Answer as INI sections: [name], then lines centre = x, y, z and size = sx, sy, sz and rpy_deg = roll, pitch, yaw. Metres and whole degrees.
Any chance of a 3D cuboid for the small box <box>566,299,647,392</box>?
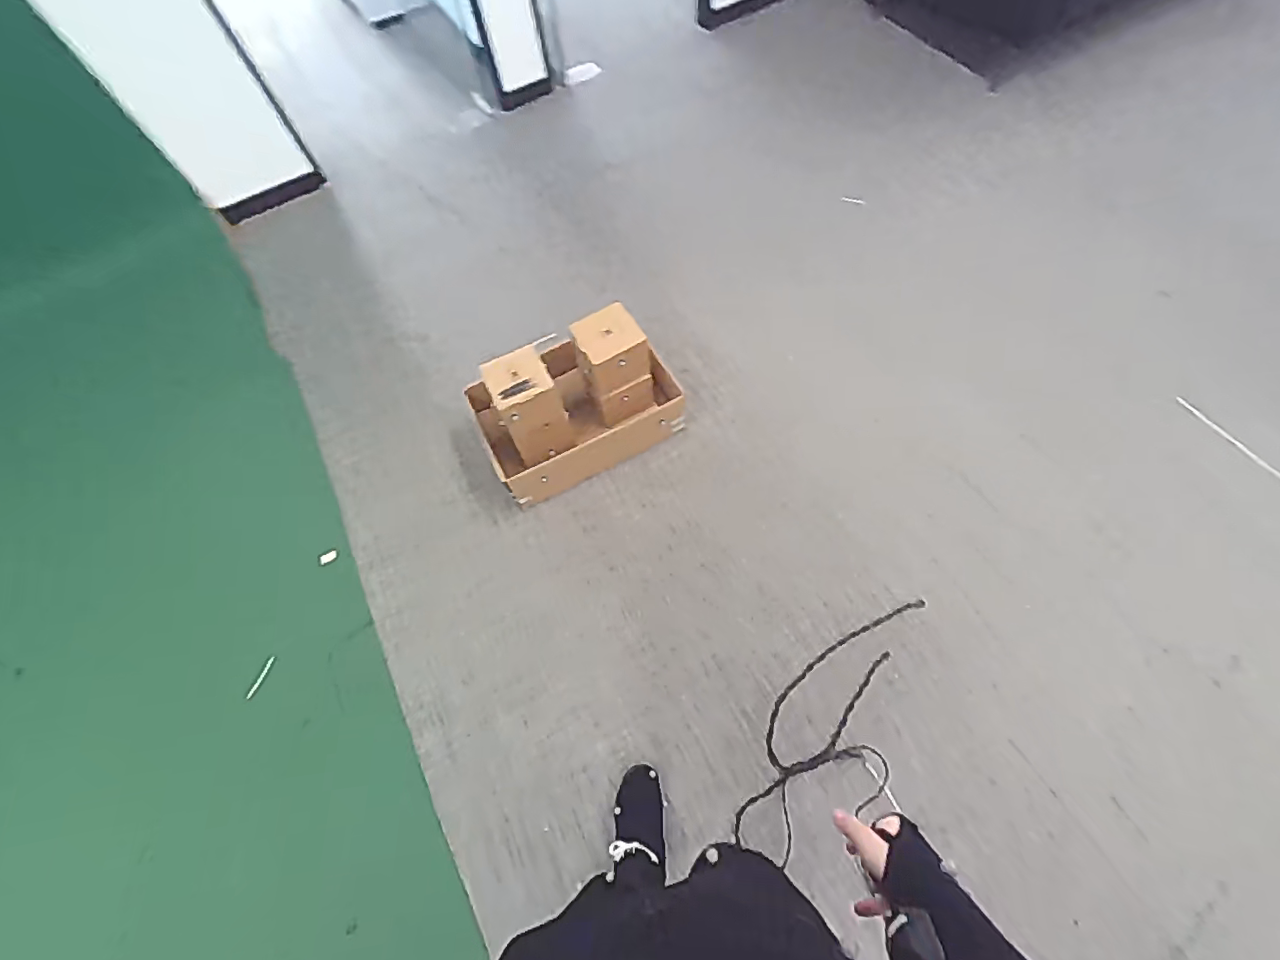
[small box]
centre = -0.093, -0.392, 1.604
size = 0.179, 0.176, 0.168
rpy_deg = -29, 67, -9
